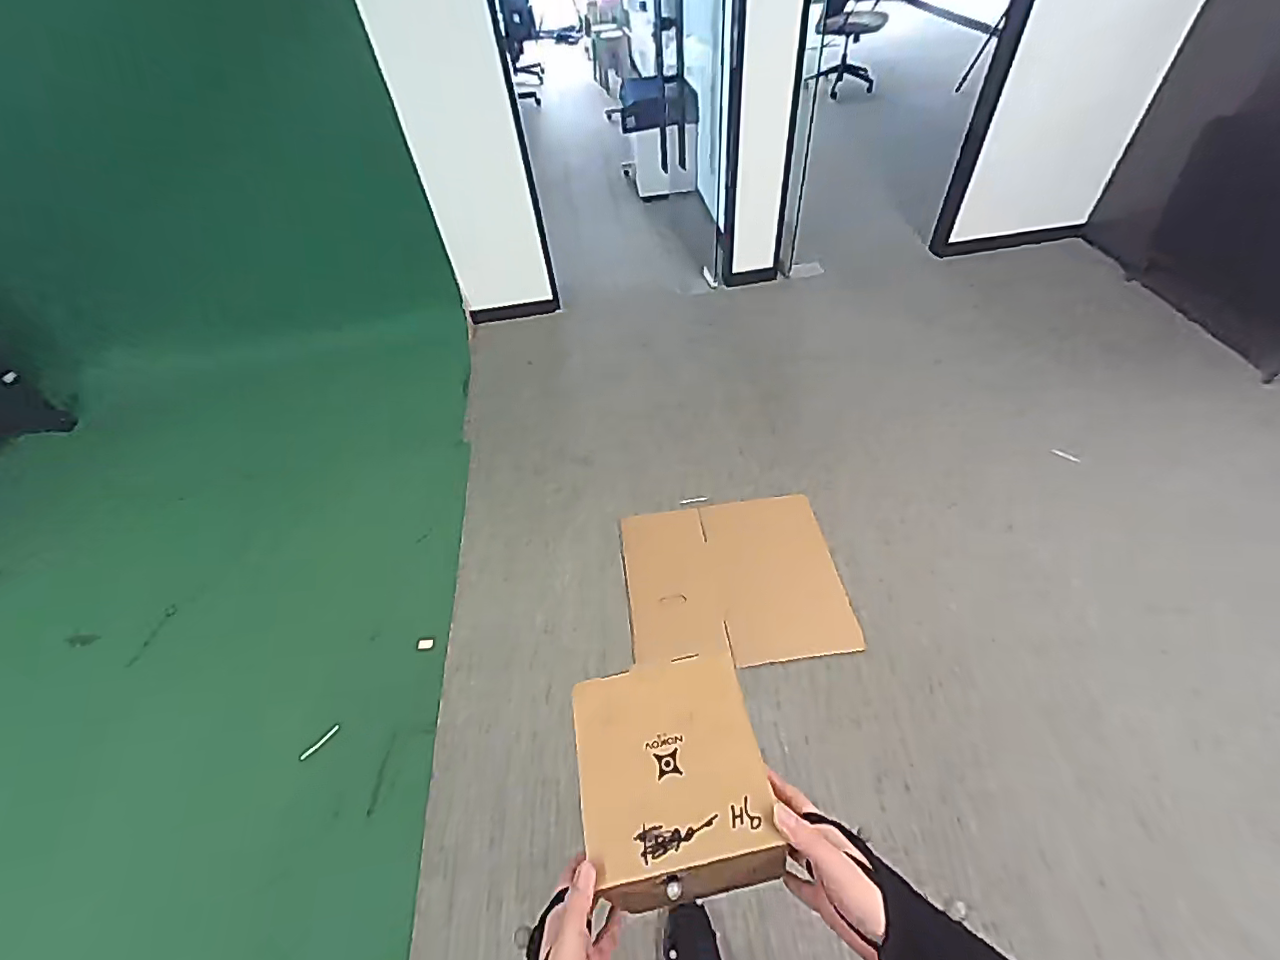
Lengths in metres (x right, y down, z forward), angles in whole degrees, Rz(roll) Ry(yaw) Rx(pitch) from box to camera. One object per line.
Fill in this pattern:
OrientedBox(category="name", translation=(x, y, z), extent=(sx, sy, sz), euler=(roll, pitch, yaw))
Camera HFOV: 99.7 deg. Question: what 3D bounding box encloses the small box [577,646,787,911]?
OrientedBox(category="small box", translation=(0.038, 0.299, 0.543), extent=(0.168, 0.176, 0.179), euler=(-13, 45, 1))
